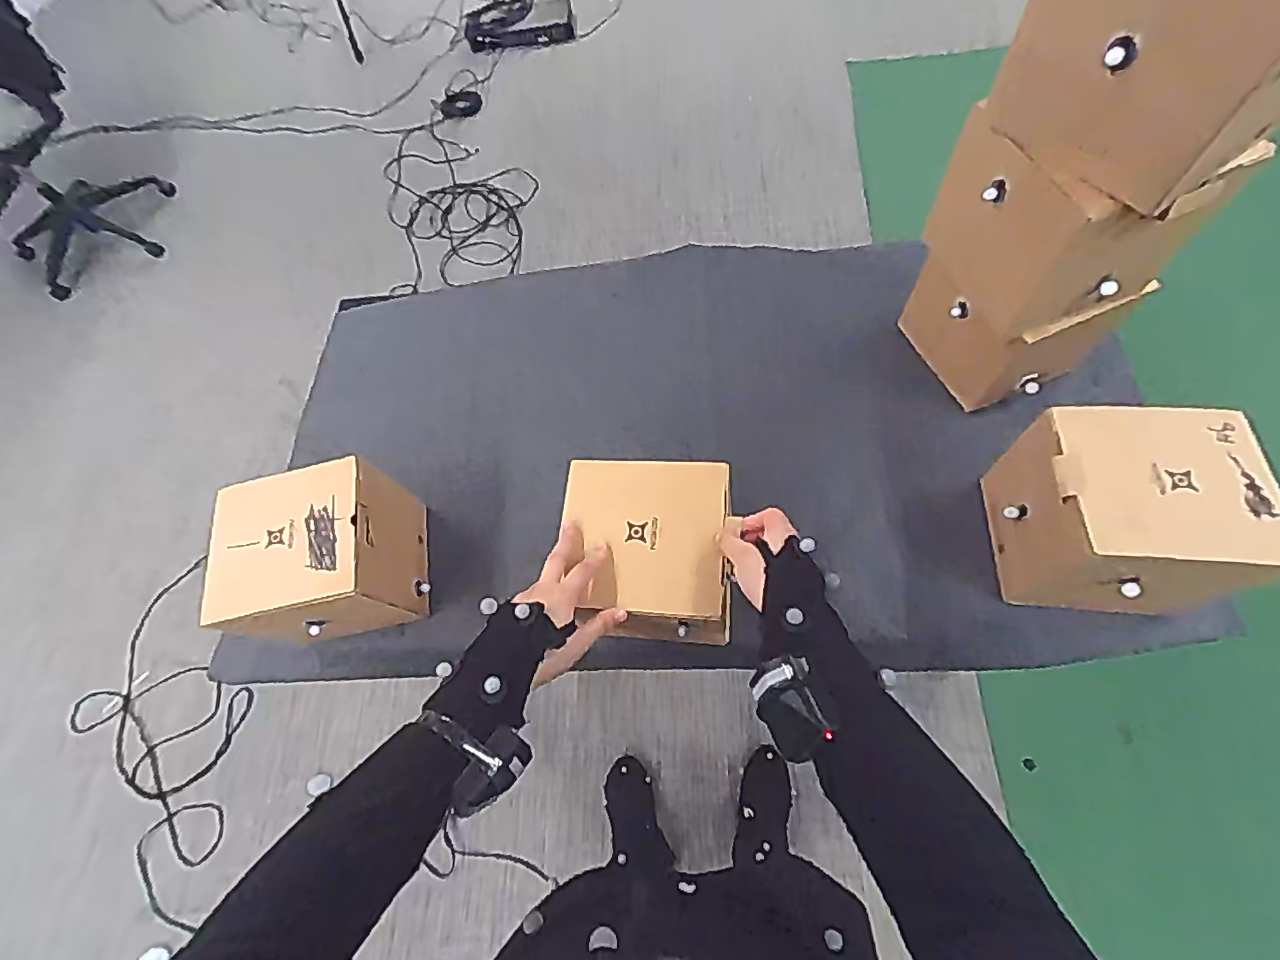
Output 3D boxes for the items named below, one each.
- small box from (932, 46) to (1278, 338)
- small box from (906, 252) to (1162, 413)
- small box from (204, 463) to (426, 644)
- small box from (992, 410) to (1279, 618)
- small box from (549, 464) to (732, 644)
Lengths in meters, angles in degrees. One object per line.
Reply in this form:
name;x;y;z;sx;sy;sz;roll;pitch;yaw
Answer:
small box;0.436;-0.281;0.552;0.168;0.176;0.179;-20;66;2
small box;0.481;-0.219;0.699;0.168;0.176;0.179;-24;67;0
small box;-0.384;0.100;0.675;0.179;0.176;0.168;-13;66;2
small box;0.506;0.042;0.576;0.179;0.176;0.168;2;63;10
small box;0.015;0.092;0.626;0.179;0.176;0.168;1;66;10
